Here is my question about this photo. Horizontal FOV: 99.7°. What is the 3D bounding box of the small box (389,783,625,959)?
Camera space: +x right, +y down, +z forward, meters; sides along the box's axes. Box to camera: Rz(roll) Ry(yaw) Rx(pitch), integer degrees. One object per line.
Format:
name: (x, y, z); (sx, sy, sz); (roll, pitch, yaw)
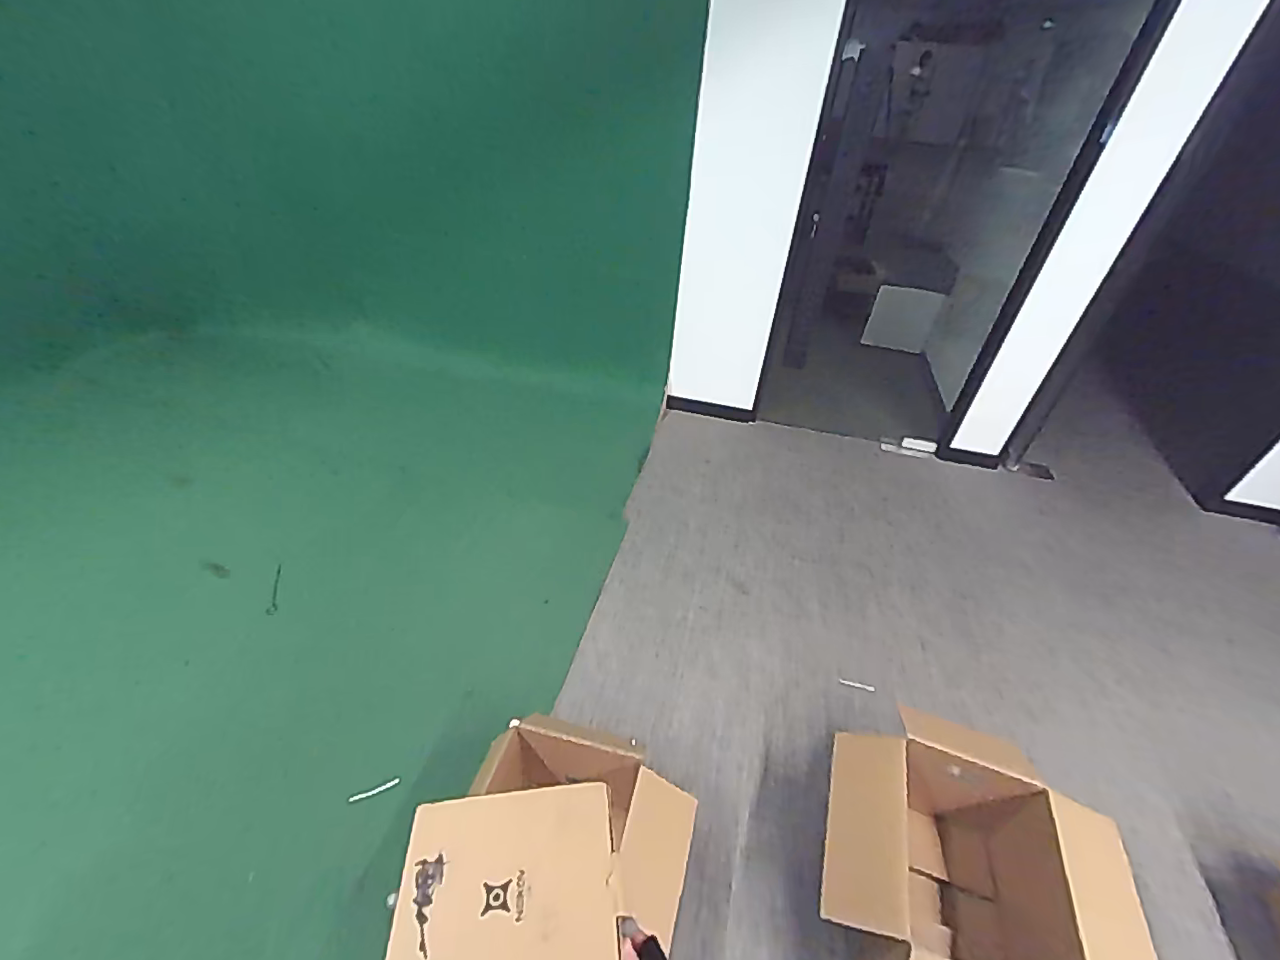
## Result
small box: (-0.107, 0.401, 0.480); (0.179, 0.176, 0.168); (-2, 32, -6)
